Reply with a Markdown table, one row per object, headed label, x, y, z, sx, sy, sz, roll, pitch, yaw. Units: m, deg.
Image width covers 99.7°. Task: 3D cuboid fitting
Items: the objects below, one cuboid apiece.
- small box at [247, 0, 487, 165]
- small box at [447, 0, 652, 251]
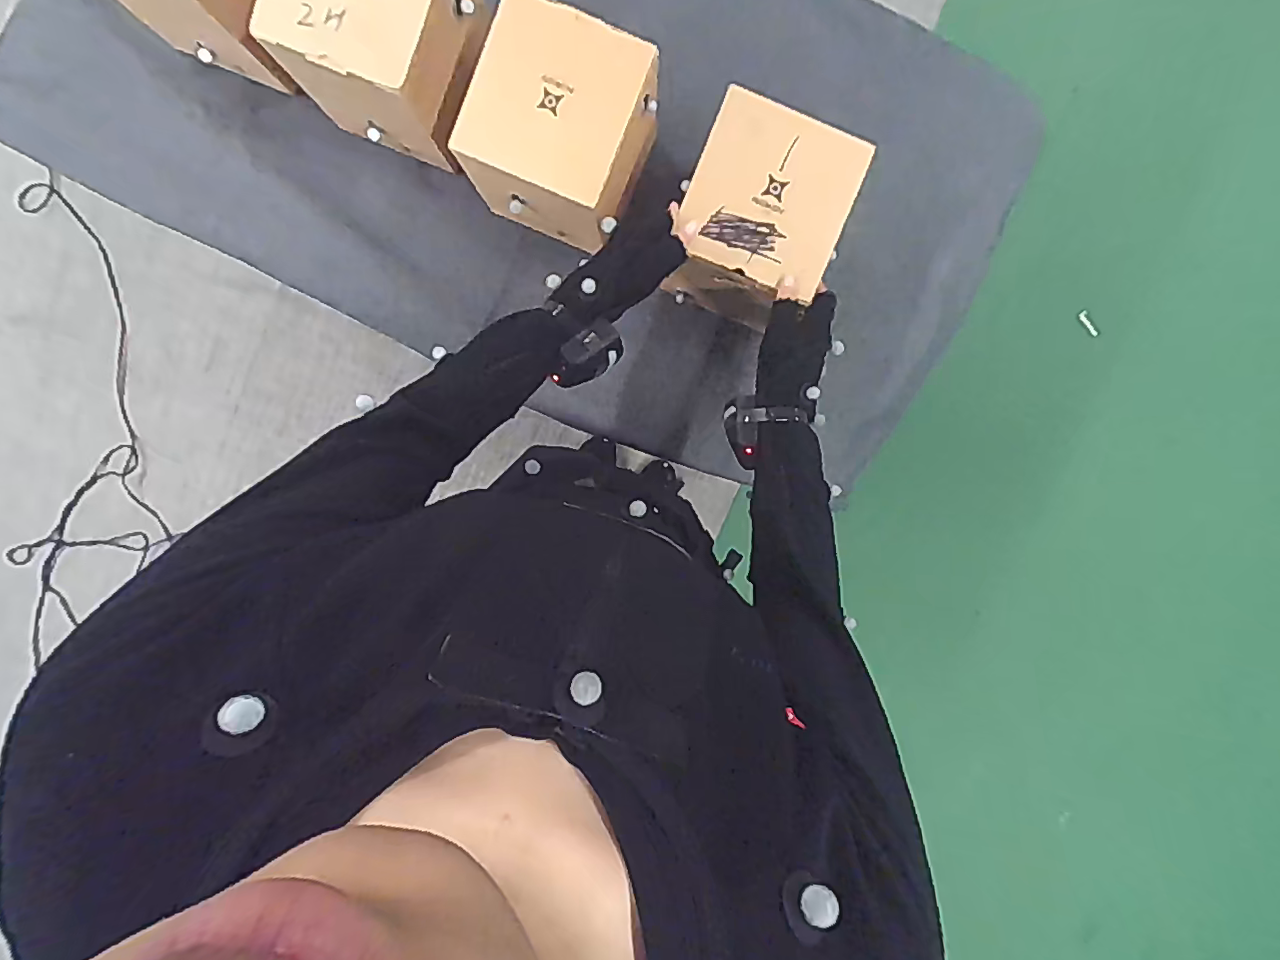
| label | x | y | z | sx | sy | sz | roll | pitch | yaw |
| --- | --- | --- | --- | --- | --- | --- | --- | --- | --- |
| small box | -0.287 | -0.508 | 0.615 | 0.168 | 0.176 | 0.179 | 21 | 94 | -2 |
| small box | -0.092 | -0.399 | 0.629 | 0.168 | 0.176 | 0.179 | 22 | 94 | -2 |
